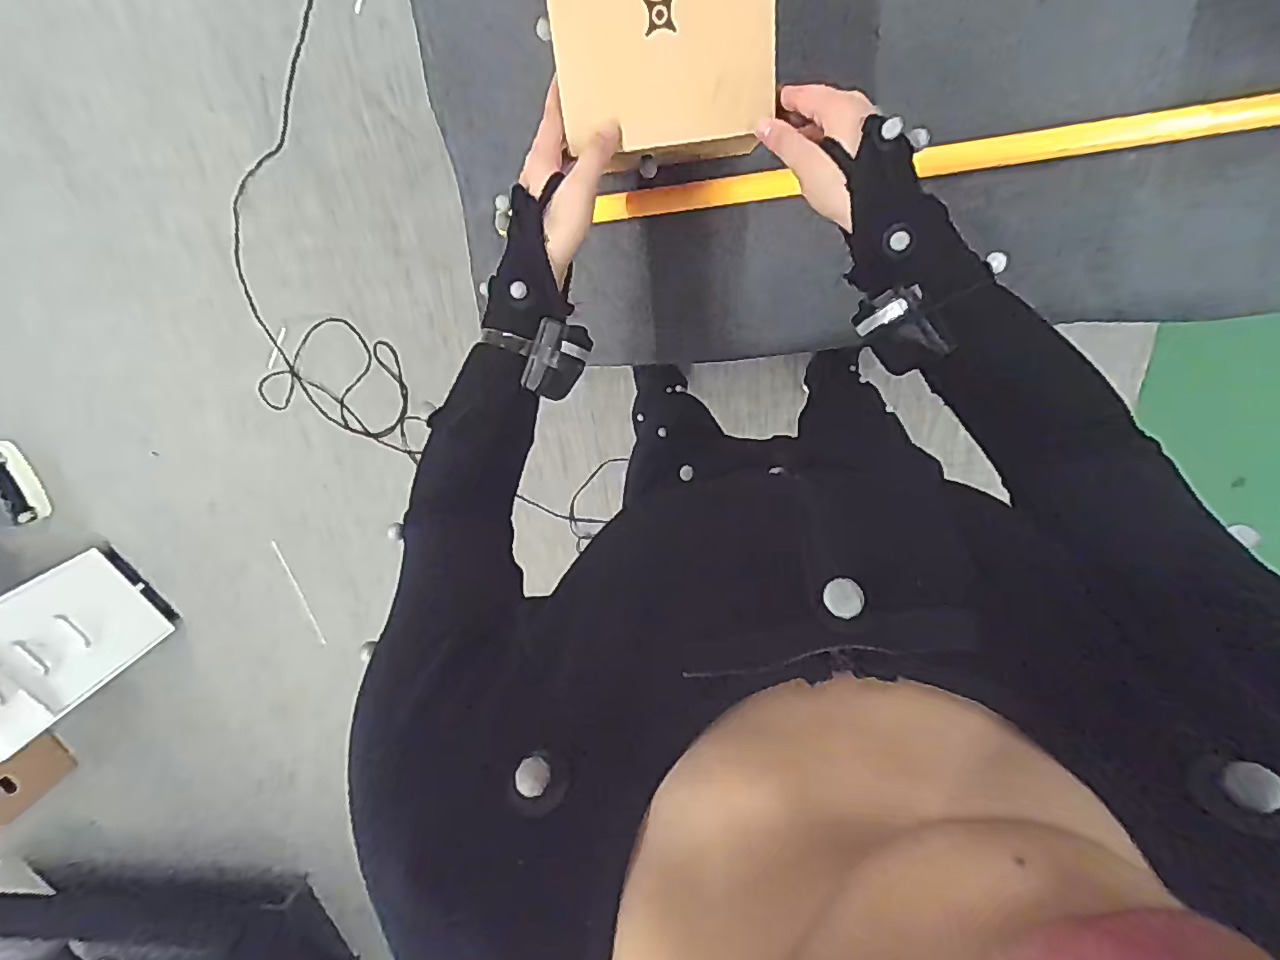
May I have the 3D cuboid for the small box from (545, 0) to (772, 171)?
[{"bbox_3d":[0.020,-0.373,0.462,0.168,0.176,0.179,-4,115,7],"label":"small box"}]
